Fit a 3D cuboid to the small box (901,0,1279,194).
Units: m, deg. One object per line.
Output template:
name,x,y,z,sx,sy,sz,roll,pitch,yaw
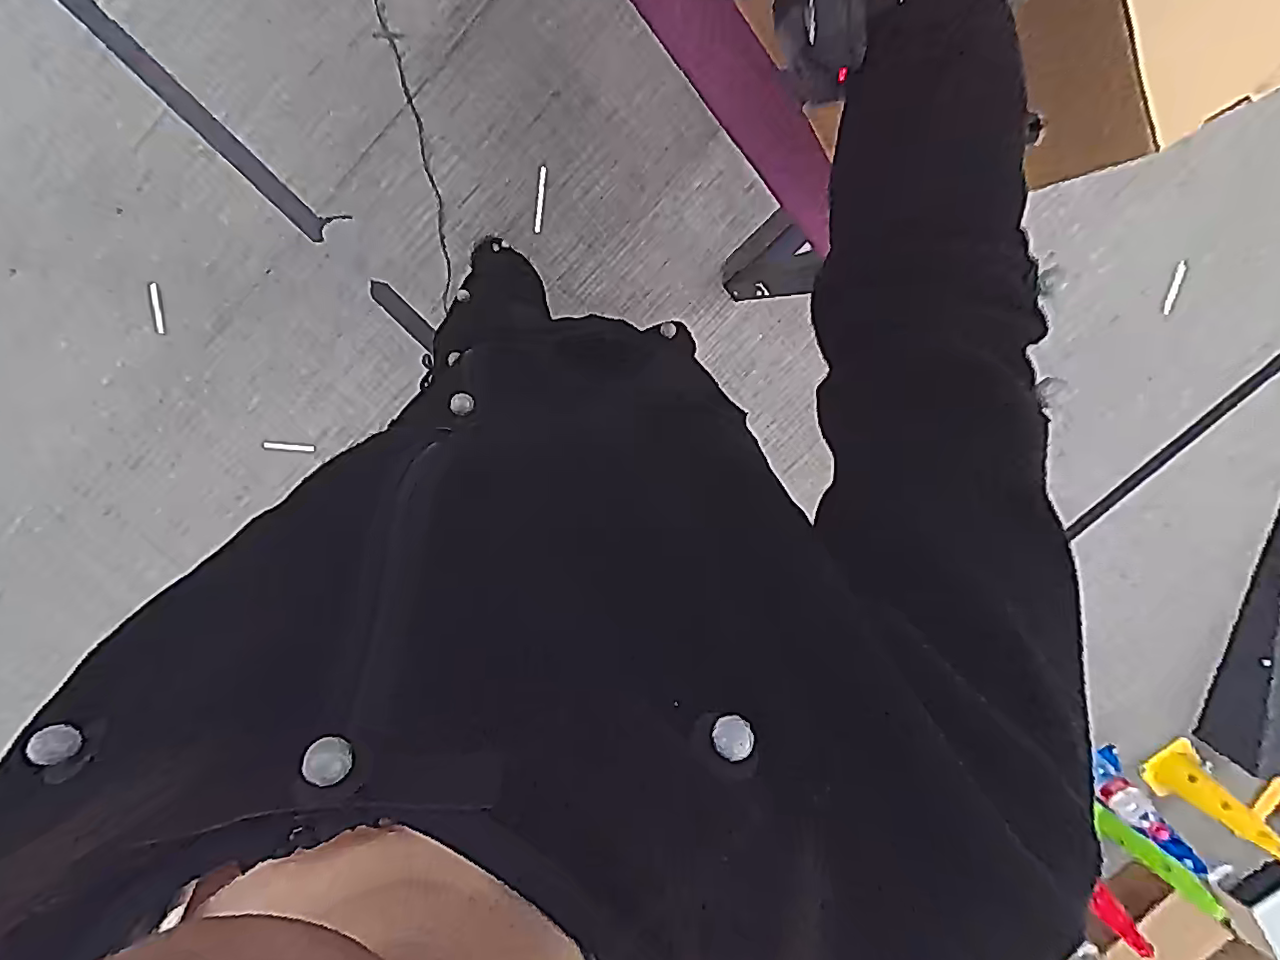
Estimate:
small box,0.315,-0.318,0.359,0.168,0.176,0.179,-32,106,2
